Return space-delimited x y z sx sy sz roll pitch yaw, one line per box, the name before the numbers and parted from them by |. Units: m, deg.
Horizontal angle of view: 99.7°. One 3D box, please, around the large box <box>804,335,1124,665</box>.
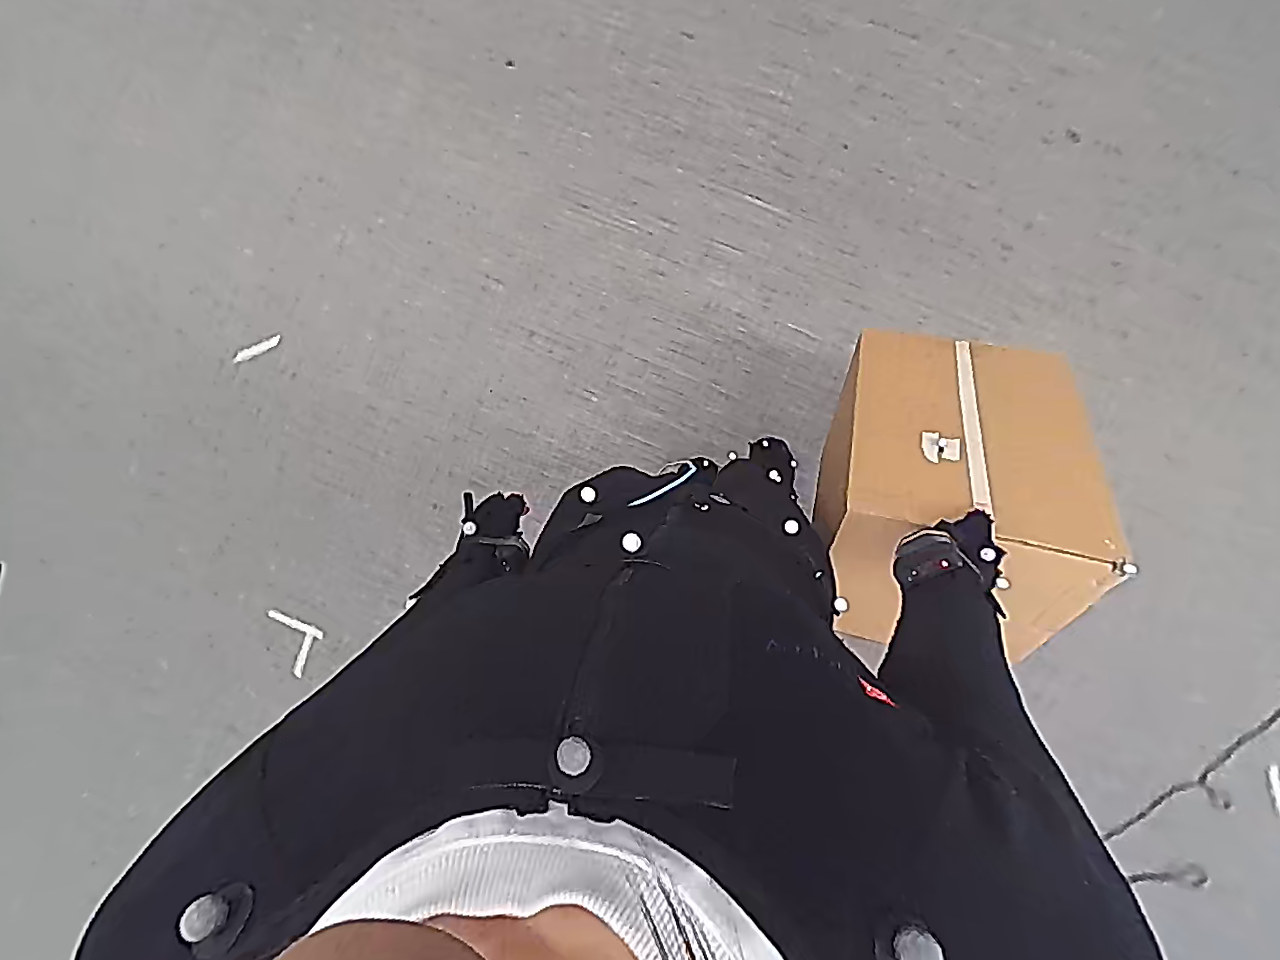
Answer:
large box | 0.467 0.022 0.883 0.320 0.320 0.408 11 51 13
